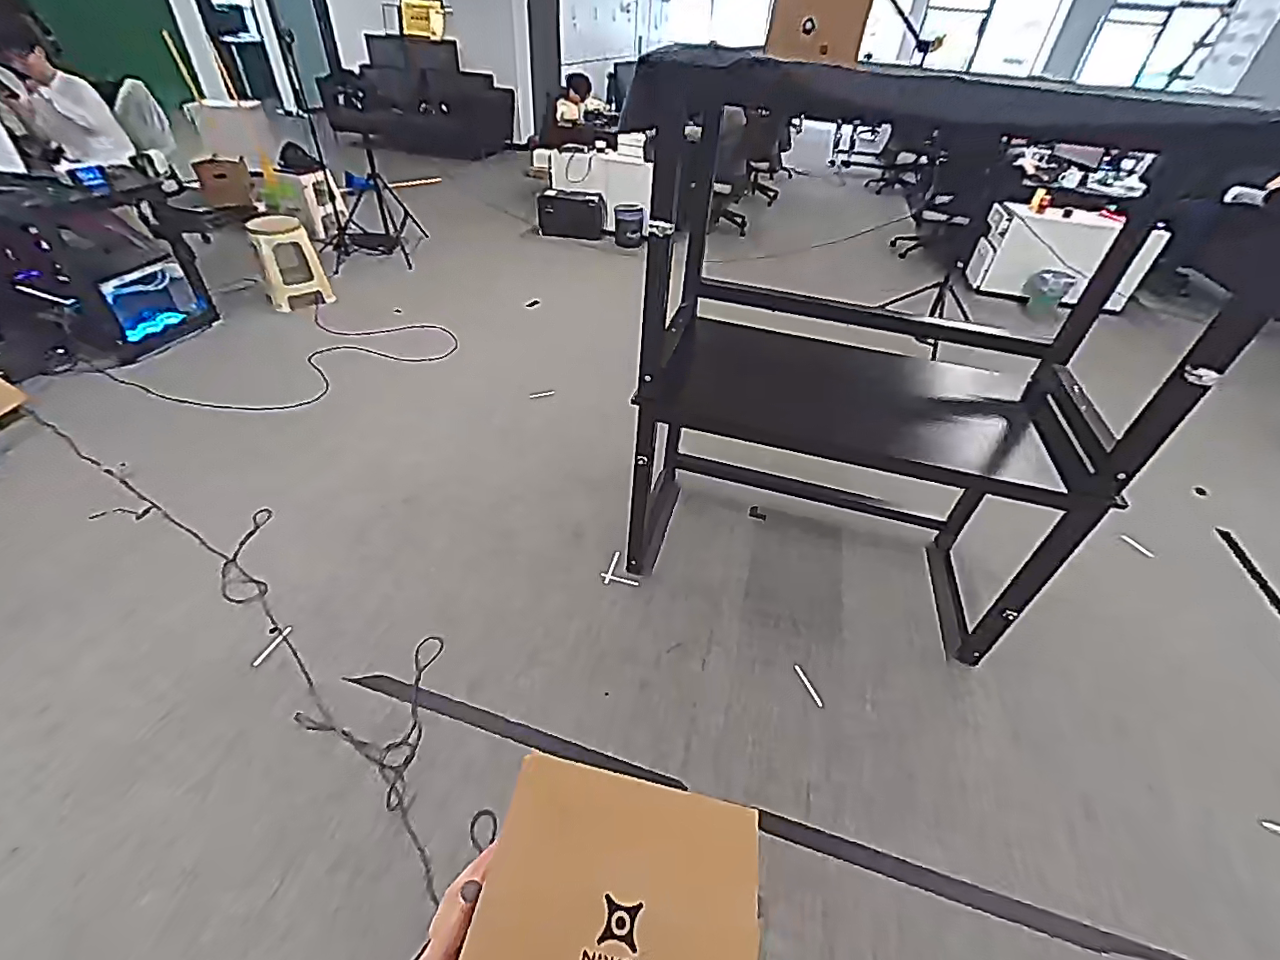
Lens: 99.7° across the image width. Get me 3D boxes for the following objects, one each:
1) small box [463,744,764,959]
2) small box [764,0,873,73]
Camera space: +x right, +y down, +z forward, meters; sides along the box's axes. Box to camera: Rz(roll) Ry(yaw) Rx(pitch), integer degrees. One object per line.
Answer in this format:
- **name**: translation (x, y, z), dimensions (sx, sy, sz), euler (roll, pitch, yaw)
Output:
- **small box**: translation (-0.024, 0.314, 0.359), dimensions (0.168, 0.176, 0.179), euler (14, 42, 2)
- **small box**: translation (0.330, -0.856, 0.982), dimensions (0.168, 0.176, 0.179), euler (14, 40, 8)
